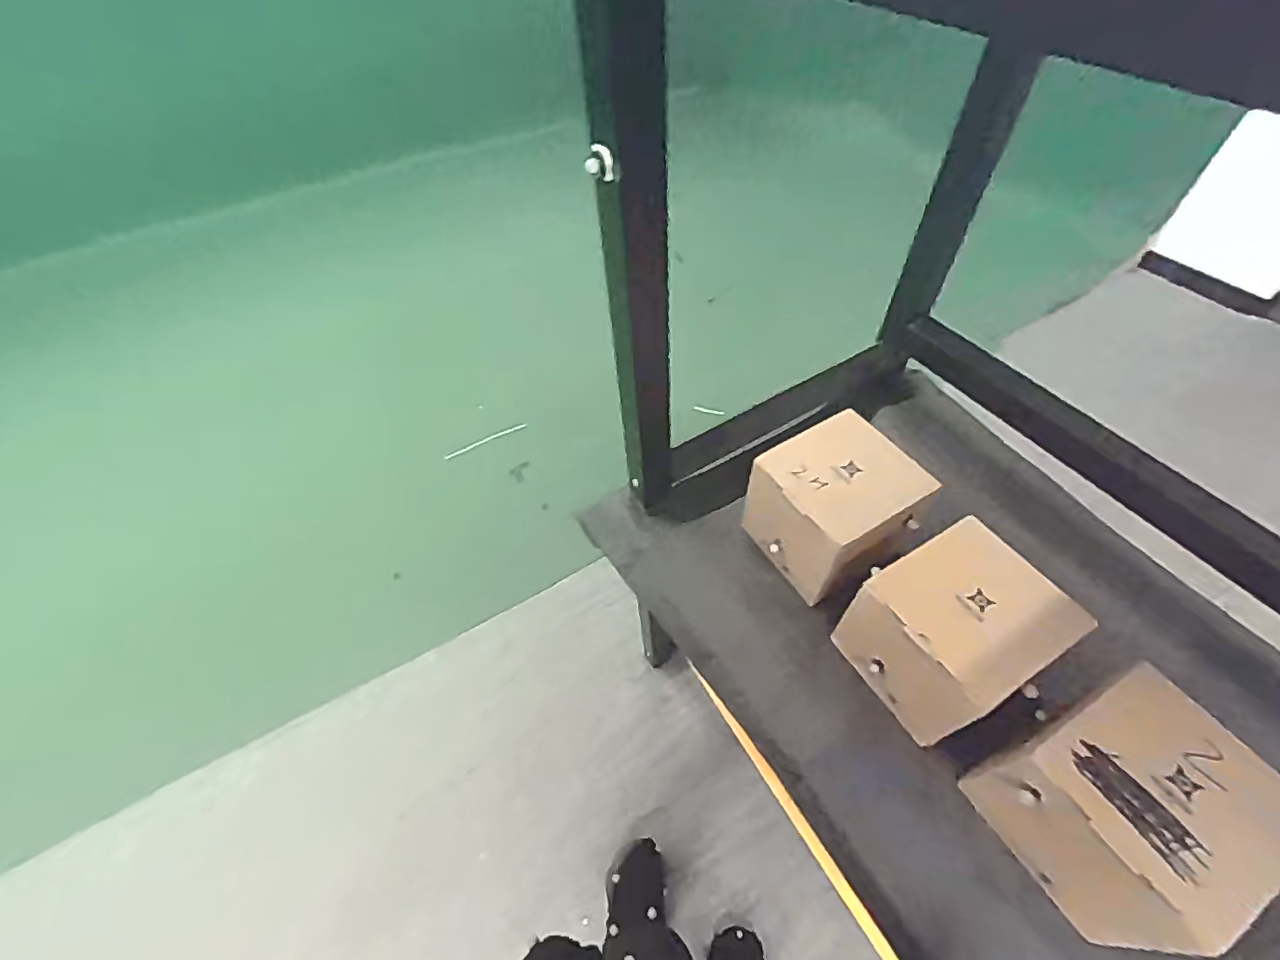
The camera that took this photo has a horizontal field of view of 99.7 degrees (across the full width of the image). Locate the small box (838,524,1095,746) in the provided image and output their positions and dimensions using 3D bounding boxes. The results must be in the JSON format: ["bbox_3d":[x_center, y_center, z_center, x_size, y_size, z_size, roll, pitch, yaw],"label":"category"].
[{"bbox_3d":[0.373,0.189,0.656,0.179,0.176,0.168,-26,56,-15],"label":"small box"}]

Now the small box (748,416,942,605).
[{"bbox_3d":[0.273,0.046,0.768,0.179,0.176,0.168,-26,56,-16],"label":"small box"}]
